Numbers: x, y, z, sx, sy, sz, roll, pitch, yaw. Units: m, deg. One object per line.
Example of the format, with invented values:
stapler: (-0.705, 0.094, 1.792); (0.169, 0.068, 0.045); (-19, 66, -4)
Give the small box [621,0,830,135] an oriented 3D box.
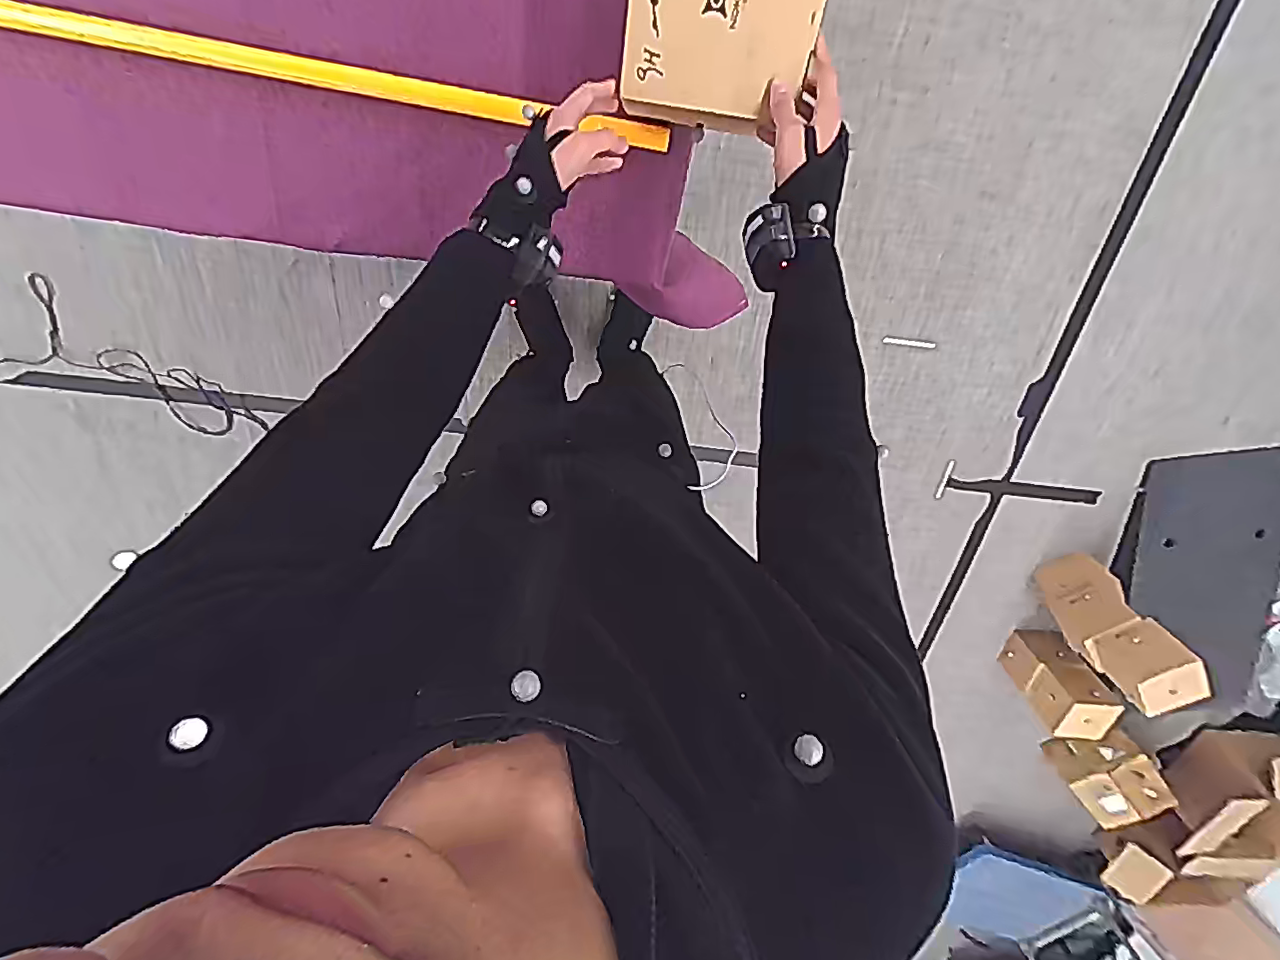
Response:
small box: (0.081, -0.460, 0.548); (0.179, 0.176, 0.168); (8, 119, -3)
